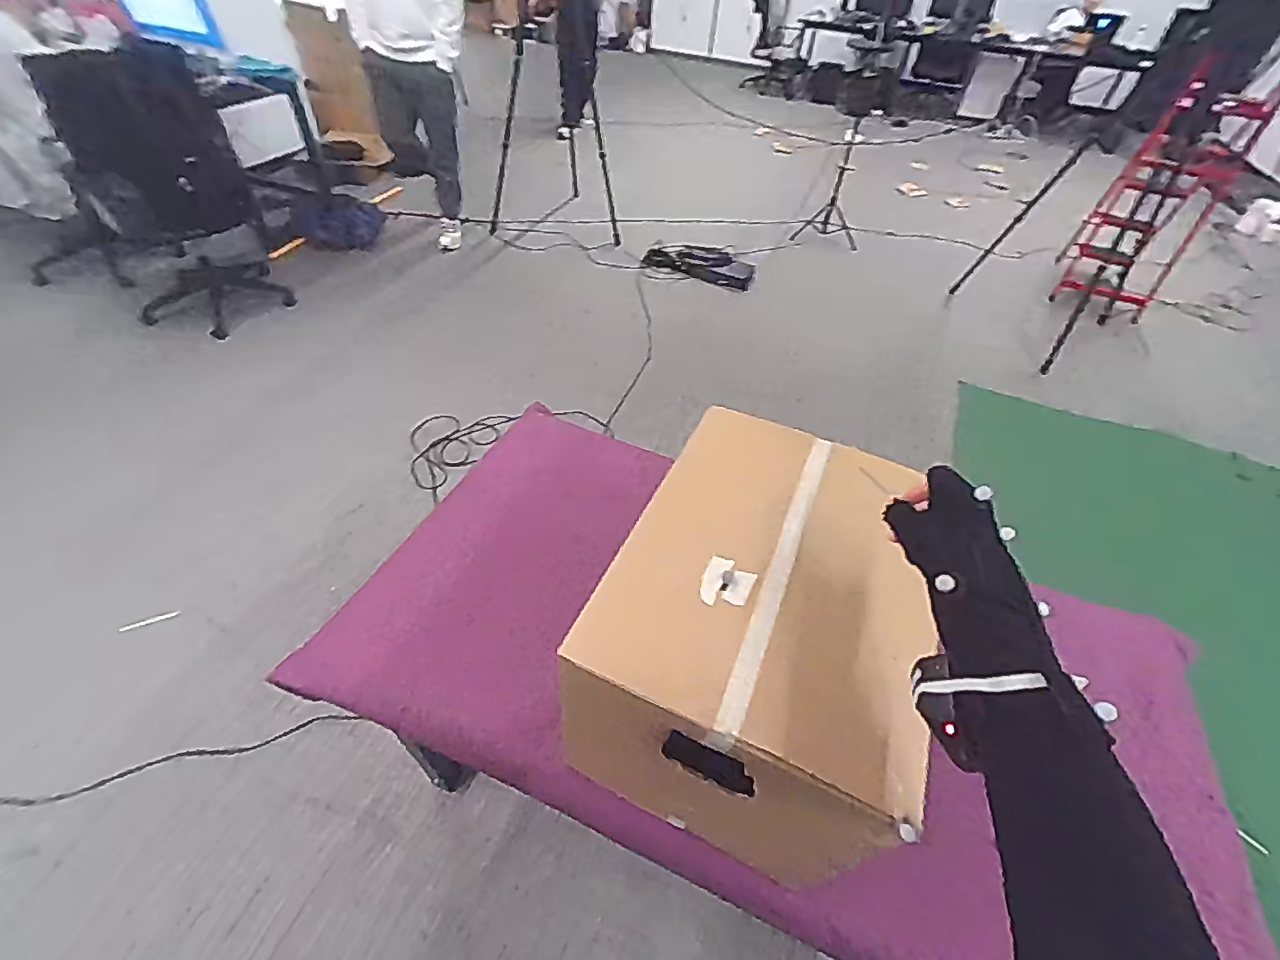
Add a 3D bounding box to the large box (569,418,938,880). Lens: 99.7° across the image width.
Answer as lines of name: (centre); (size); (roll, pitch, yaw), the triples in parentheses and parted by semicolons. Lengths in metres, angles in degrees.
large box: (0.139, 0.194, 0.690); (0.320, 0.320, 0.408); (22, 49, 15)
